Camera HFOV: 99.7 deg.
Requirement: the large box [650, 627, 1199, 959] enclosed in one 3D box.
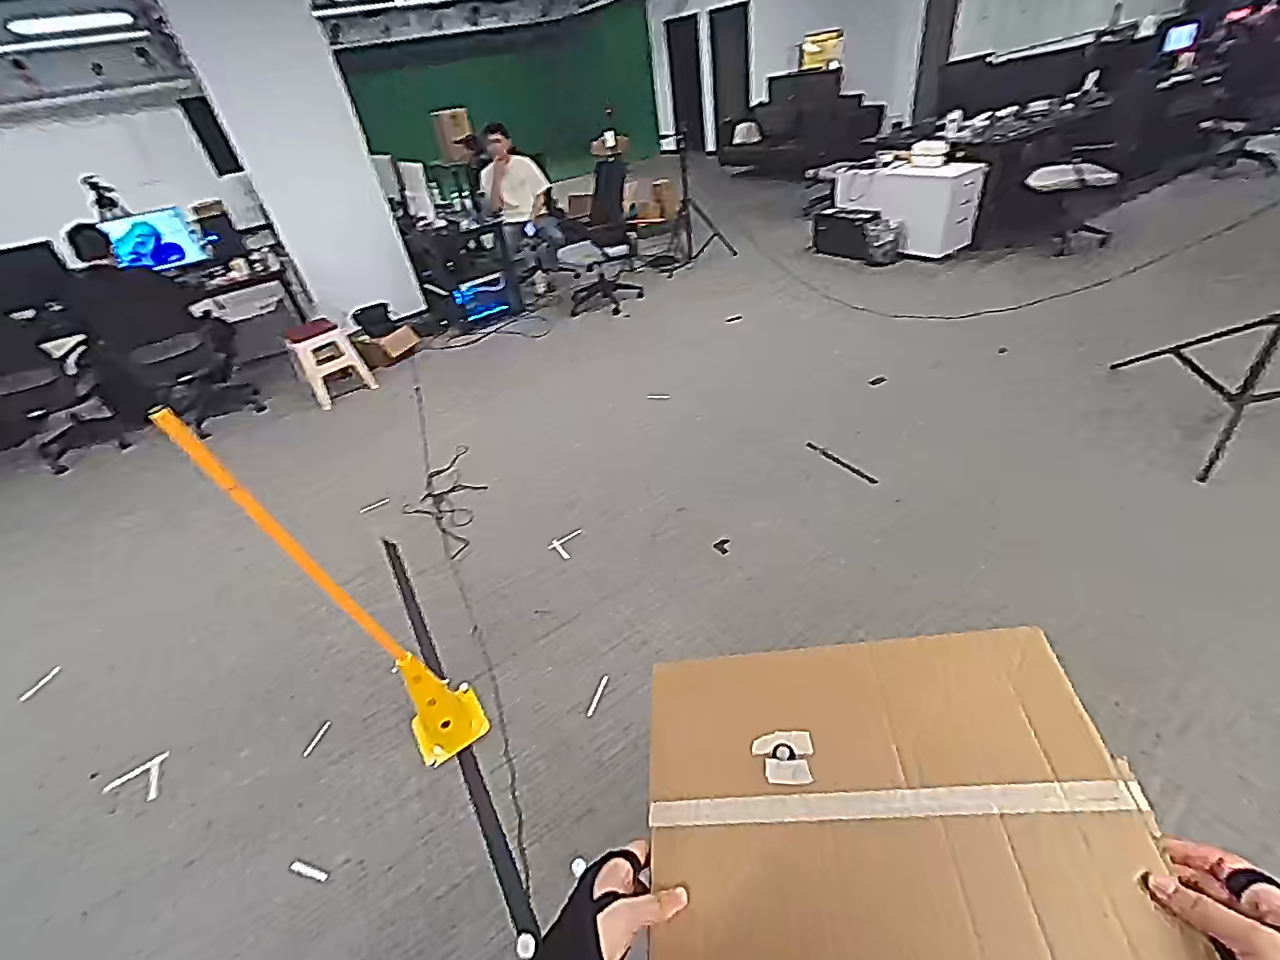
[{"bbox_3d":[0.246,0.398,0.590,0.408,0.320,0.320,-12,42,14],"label":"large box"}]
